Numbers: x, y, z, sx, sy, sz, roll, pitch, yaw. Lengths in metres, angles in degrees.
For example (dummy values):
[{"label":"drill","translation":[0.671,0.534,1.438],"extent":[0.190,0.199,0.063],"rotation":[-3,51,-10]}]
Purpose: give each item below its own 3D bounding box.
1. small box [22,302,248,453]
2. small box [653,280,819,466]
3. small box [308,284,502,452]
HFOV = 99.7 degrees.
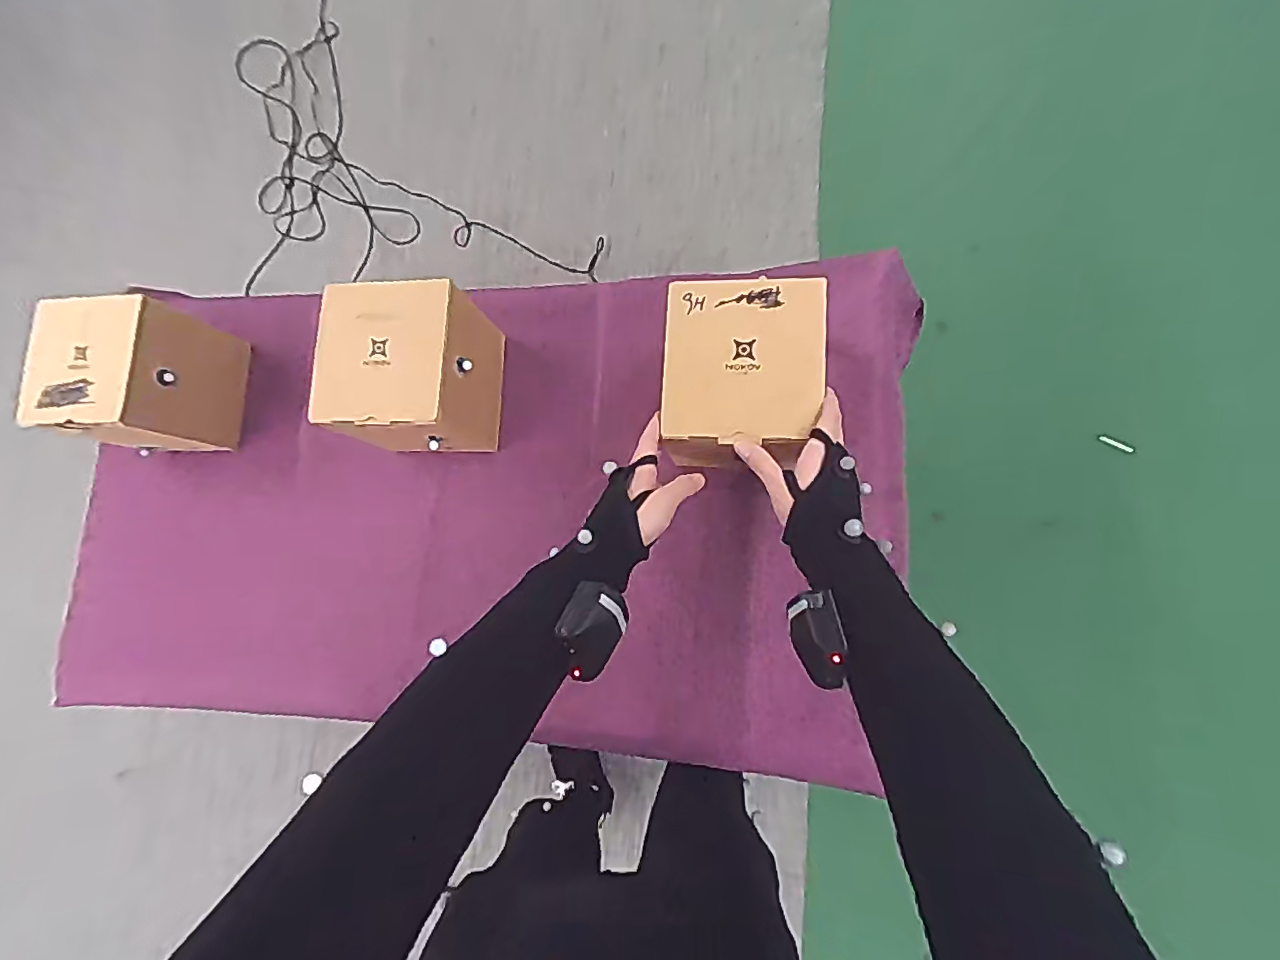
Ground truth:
[{"label":"small box","translation":[-0.713,-0.136,0.783],"extent":[0.168,0.176,0.179],"rotation":[0,81,9]},{"label":"small box","translation":[0.113,-0.113,0.637],"extent":[0.168,0.176,0.179],"rotation":[2,83,11]},{"label":"small box","translation":[-0.295,-0.135,0.713],"extent":[0.168,0.176,0.179],"rotation":[1,82,9]}]
